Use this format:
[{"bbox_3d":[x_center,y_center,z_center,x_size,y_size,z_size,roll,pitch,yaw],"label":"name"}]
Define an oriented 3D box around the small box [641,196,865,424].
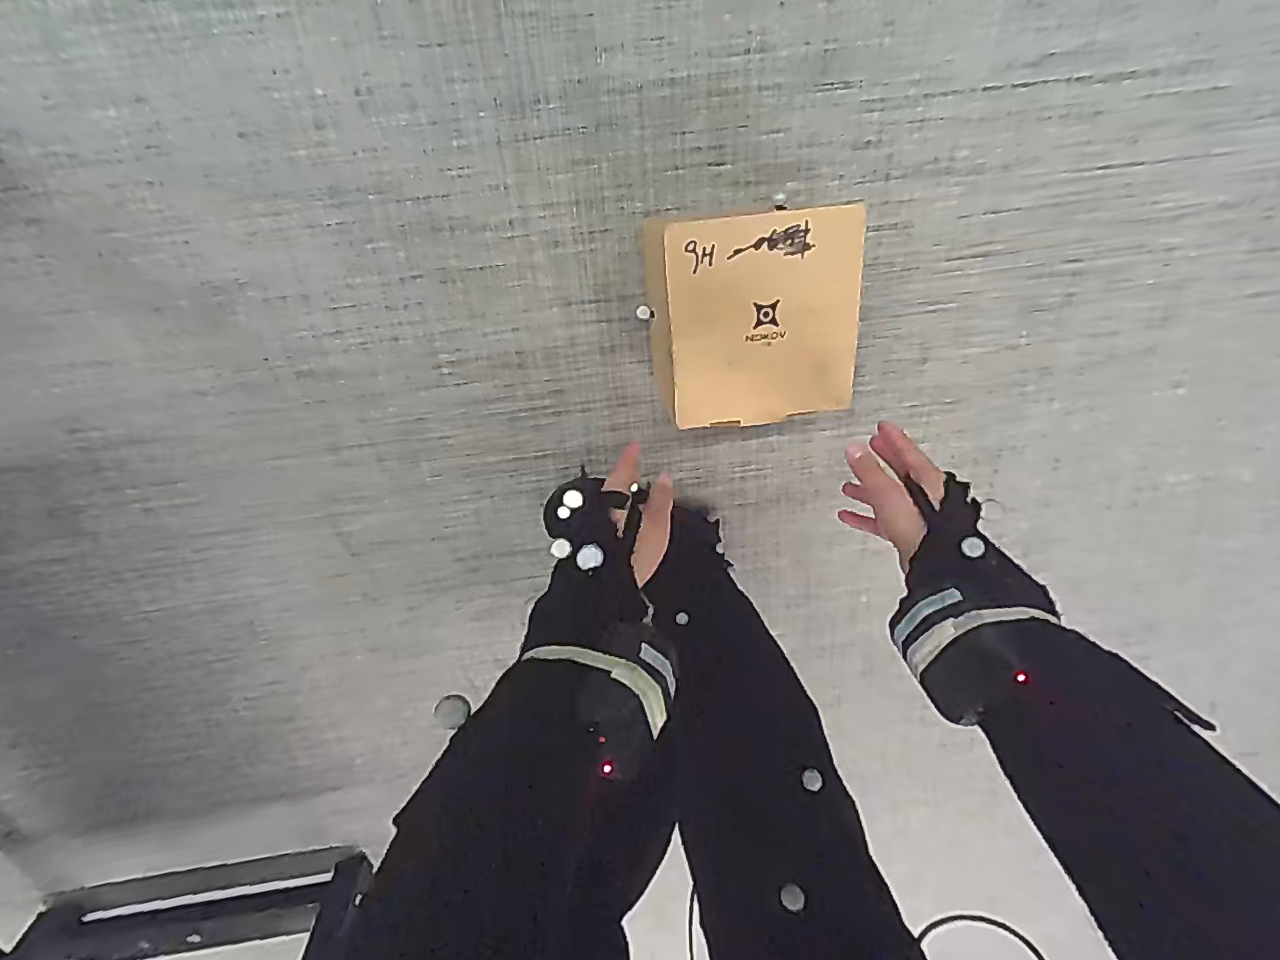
[{"bbox_3d":[0.094,-0.172,0.527,0.168,0.176,0.179,-7,118,-3],"label":"small box"}]
